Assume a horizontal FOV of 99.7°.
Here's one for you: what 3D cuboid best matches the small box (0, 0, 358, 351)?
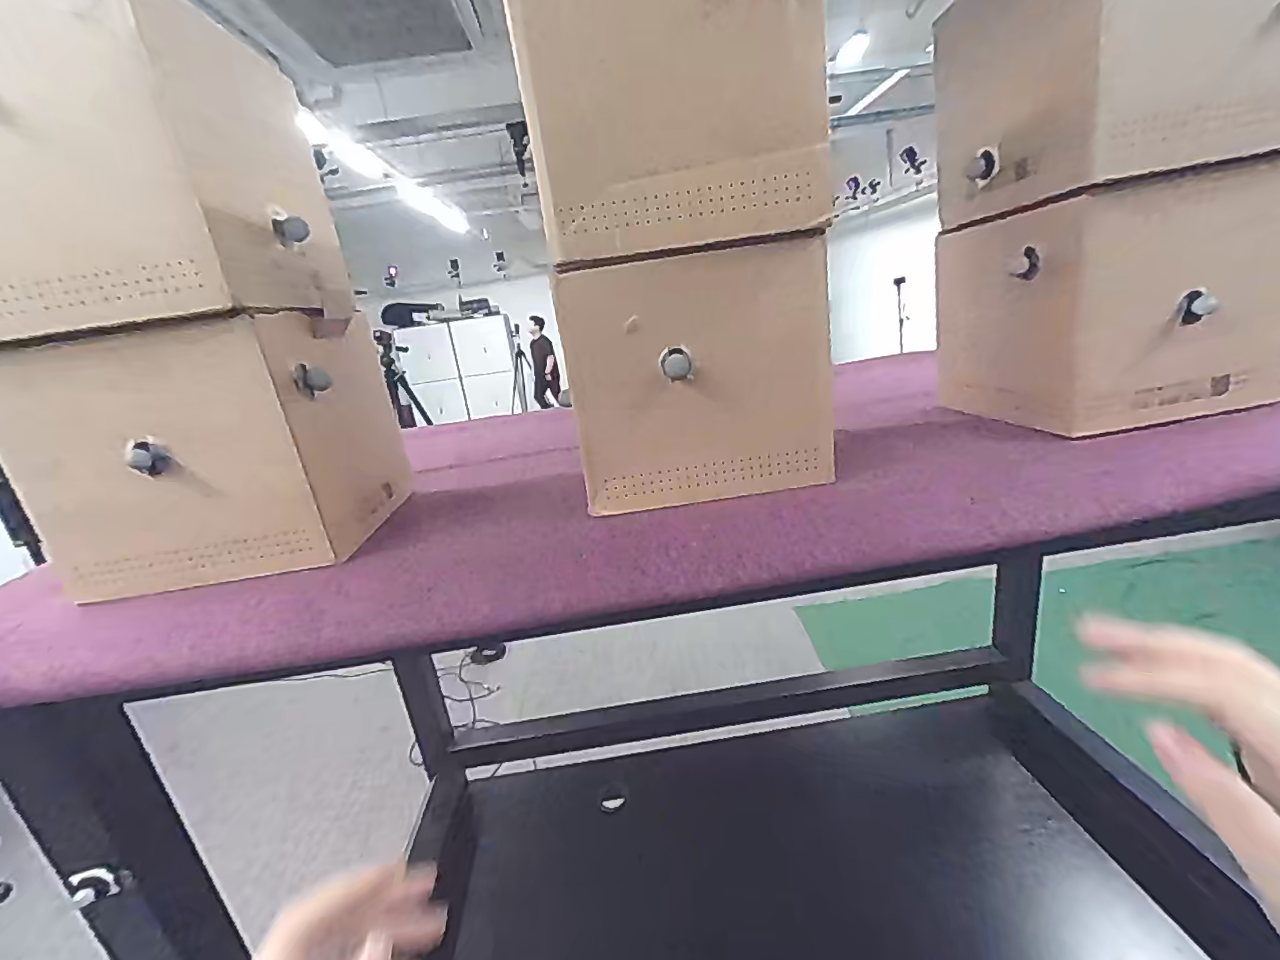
[{"bbox_3d":[-0.323,-0.182,0.354,0.179,0.176,0.168,-8,18,-2],"label":"small box"}]

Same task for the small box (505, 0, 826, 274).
[{"bbox_3d":[0.020,-0.236,0.381,0.179,0.176,0.168,-6,17,2],"label":"small box"}]

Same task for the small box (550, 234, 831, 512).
[{"bbox_3d":[0.038,-0.082,0.433,0.179,0.176,0.168,-9,17,0],"label":"small box"}]

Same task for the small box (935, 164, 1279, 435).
[{"bbox_3d":[0.374,-0.138,0.449,0.168,0.176,0.179,-9,15,0],"label":"small box"}]

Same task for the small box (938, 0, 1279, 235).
[{"bbox_3d":[0.346,-0.288,0.392,0.179,0.176,0.168,-11,14,0],"label":"small box"}]
